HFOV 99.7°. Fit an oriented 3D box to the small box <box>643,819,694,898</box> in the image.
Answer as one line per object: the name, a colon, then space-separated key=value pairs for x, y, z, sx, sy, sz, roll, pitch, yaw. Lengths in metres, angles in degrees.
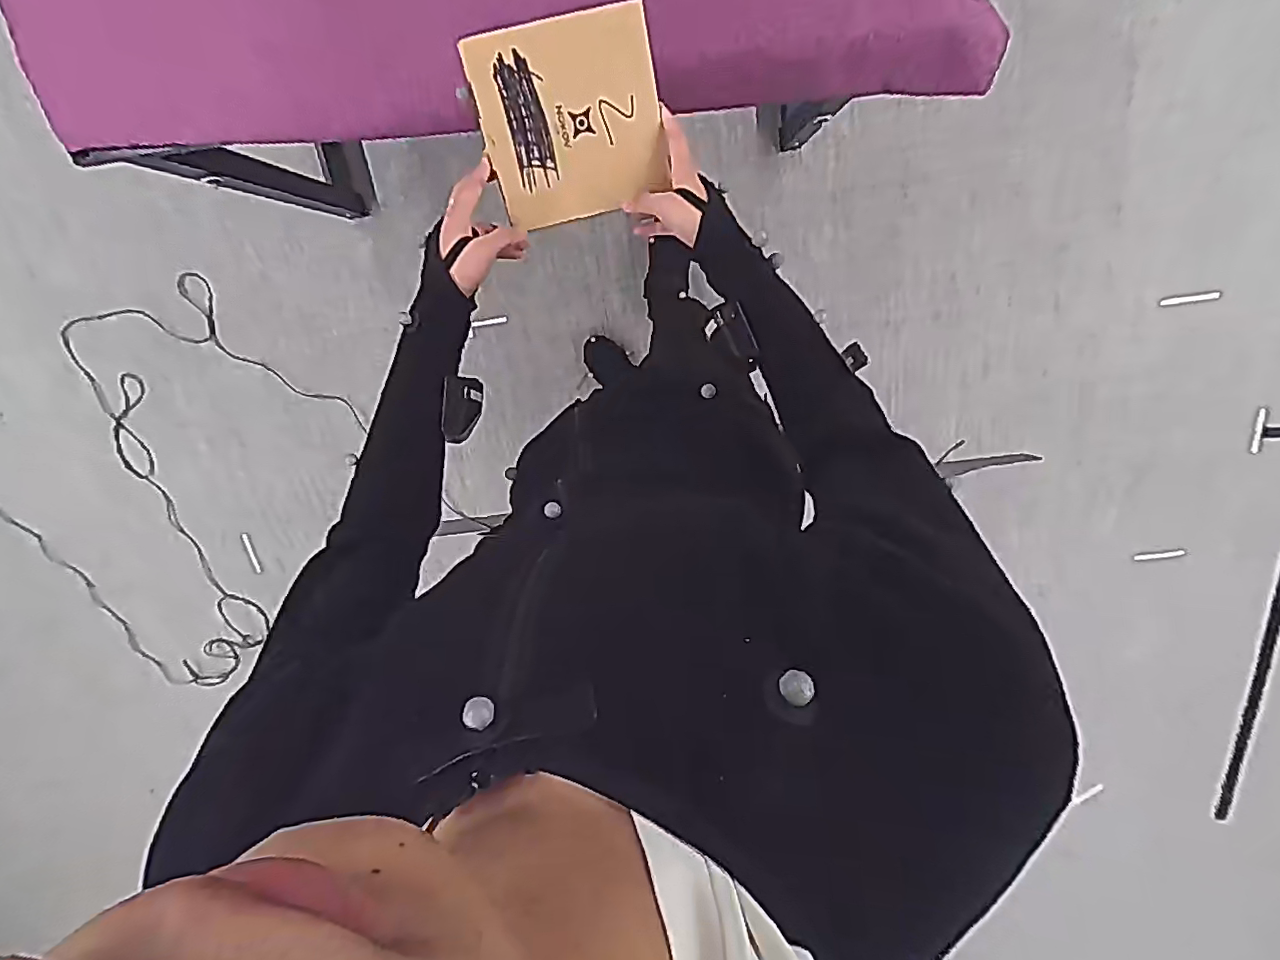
small box: x=0.106 y=1.409 z=2.018 sx=0.168 sy=0.176 sz=0.179 roll=-8 pitch=106 yaw=3
